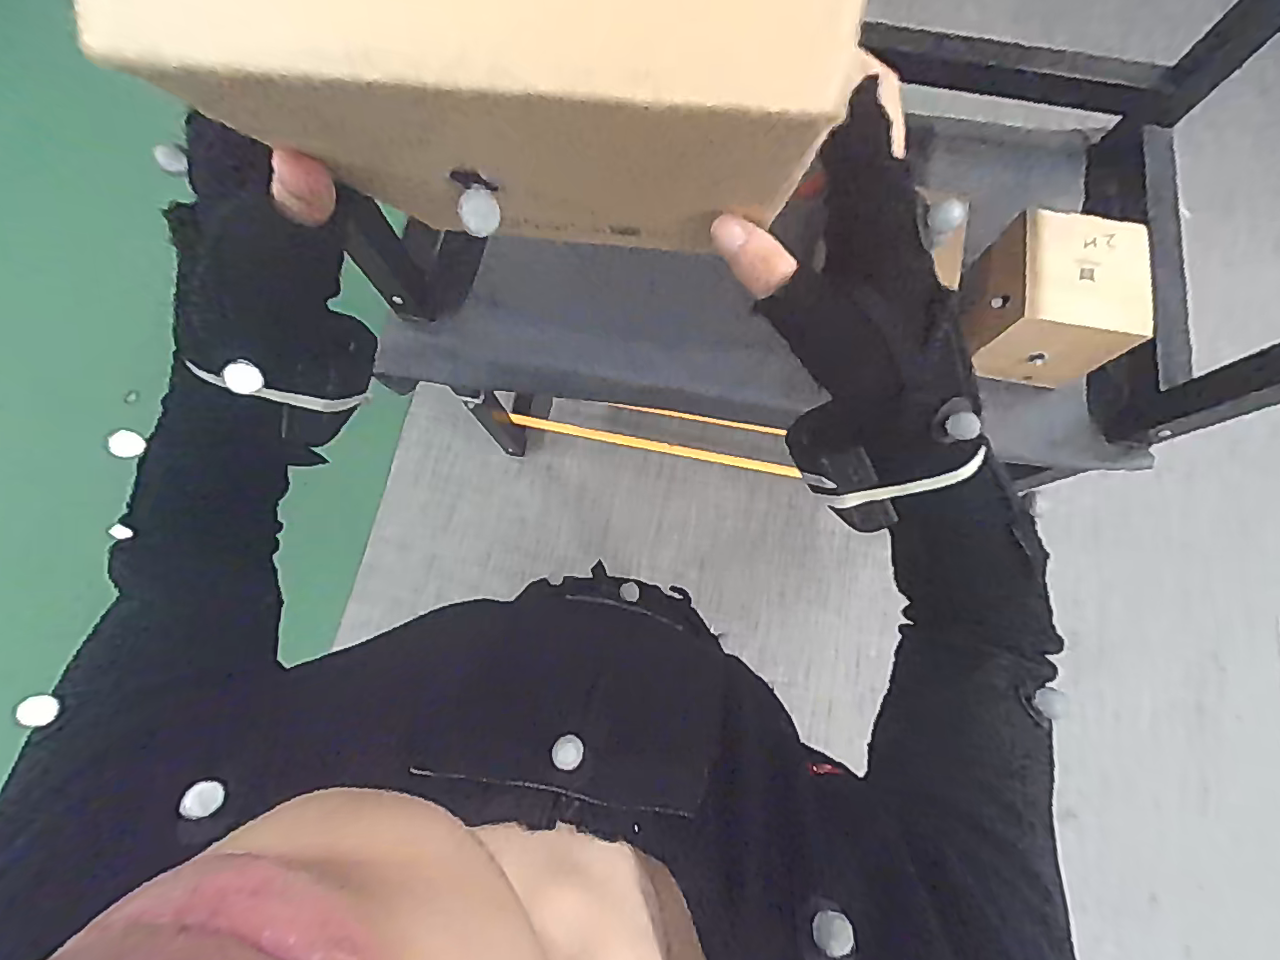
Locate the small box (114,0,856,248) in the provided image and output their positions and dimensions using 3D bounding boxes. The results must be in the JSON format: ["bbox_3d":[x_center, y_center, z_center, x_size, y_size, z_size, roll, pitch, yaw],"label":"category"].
[{"bbox_3d":[-0.022,-0.185,0.176,0.168,0.176,0.179,7,104,3],"label":"small box"}]

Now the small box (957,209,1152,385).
[{"bbox_3d":[0.597,-0.259,0.800,0.168,0.176,0.179,10,75,2],"label":"small box"}]
